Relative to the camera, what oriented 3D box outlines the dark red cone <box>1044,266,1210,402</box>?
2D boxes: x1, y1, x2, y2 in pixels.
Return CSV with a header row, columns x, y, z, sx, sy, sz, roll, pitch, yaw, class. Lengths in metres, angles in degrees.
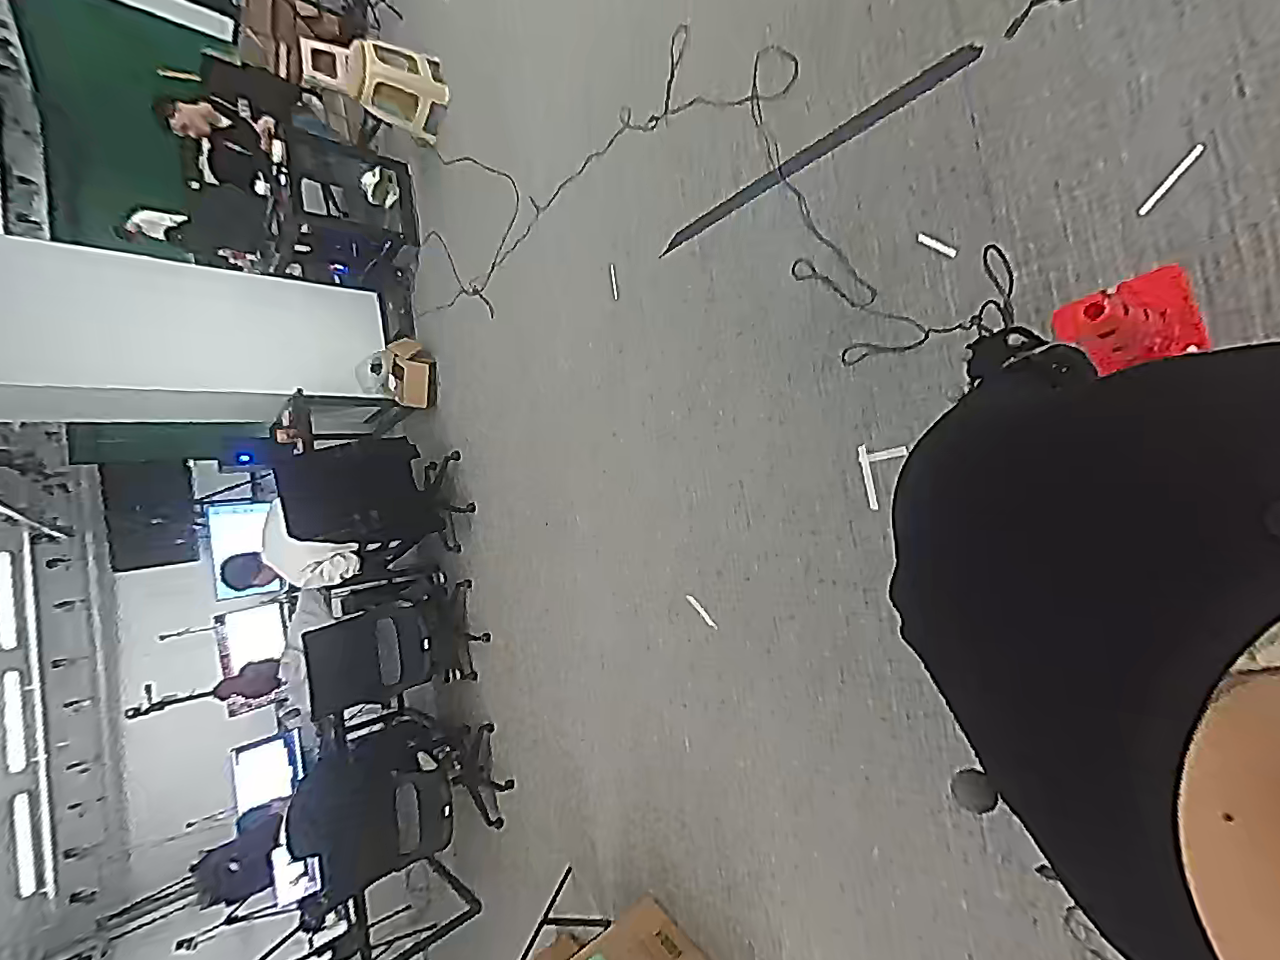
x,y,z,sx,sy,sz,roll,pitch,yaw,class
0.775,-0.257,0.901,0.202,0.394,0.201,-23,76,47,dark red cone
